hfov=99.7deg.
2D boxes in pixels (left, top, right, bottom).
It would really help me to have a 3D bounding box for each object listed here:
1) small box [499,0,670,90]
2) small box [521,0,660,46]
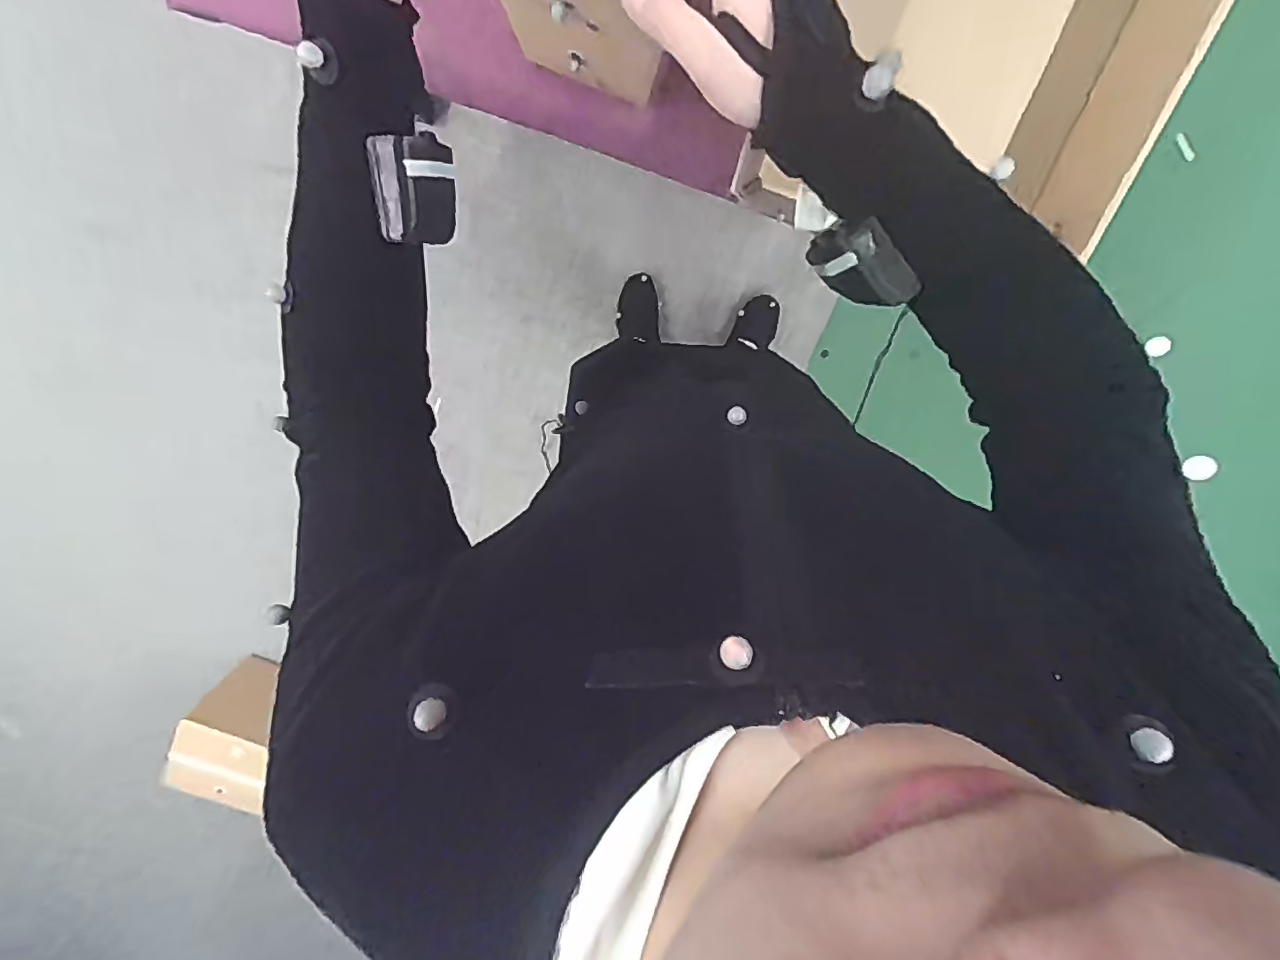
[{"bbox_3d":[-0.046,-0.580,0.605,0.168,0.176,0.179,17,110,-7],"label":"small box"},{"bbox_3d":[-0.043,-0.522,0.452,0.168,0.176,0.179,17,110,-6],"label":"small box"}]
